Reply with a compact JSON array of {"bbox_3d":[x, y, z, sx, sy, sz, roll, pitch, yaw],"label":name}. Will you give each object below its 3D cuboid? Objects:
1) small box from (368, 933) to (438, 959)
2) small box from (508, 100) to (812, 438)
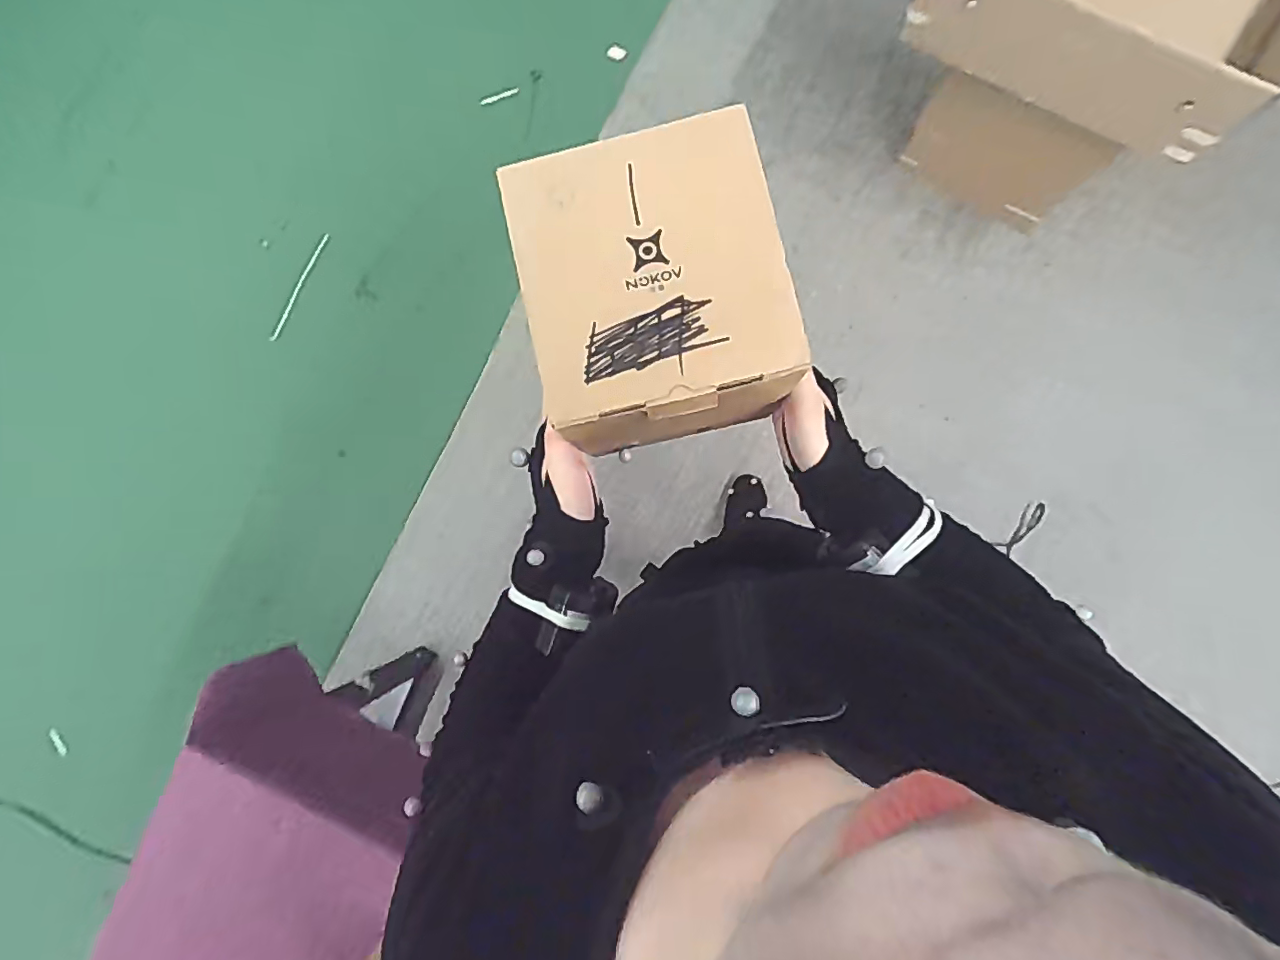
[{"bbox_3d":[-0.330,0.753,0.696,0.168,0.176,0.179,23,88,6],"label":"small box"},{"bbox_3d":[0.015,-0.134,0.418,0.168,0.176,0.179,-12,85,2],"label":"small box"}]
